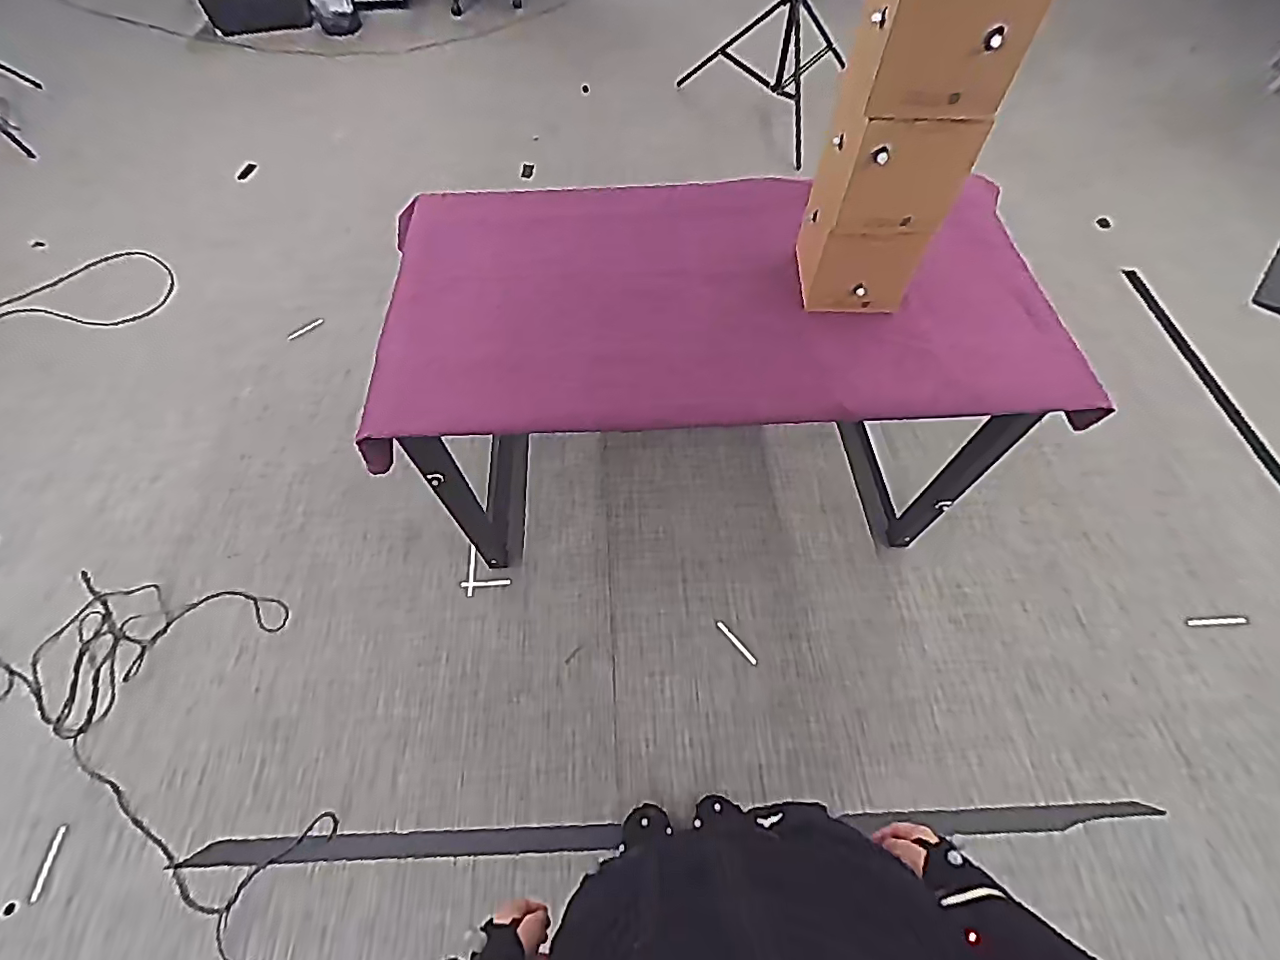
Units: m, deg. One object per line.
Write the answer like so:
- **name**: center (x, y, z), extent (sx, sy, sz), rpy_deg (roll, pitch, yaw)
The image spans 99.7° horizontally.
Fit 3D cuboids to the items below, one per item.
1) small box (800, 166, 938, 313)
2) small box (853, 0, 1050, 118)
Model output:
- **small box**: center (0.387, -0.421, 0.951), extent (0.168, 0.176, 0.179), rpy_deg (2, 61, 3)
- **small box**: center (0.377, -0.576, 0.663), extent (0.168, 0.176, 0.179), rpy_deg (4, 59, 2)
